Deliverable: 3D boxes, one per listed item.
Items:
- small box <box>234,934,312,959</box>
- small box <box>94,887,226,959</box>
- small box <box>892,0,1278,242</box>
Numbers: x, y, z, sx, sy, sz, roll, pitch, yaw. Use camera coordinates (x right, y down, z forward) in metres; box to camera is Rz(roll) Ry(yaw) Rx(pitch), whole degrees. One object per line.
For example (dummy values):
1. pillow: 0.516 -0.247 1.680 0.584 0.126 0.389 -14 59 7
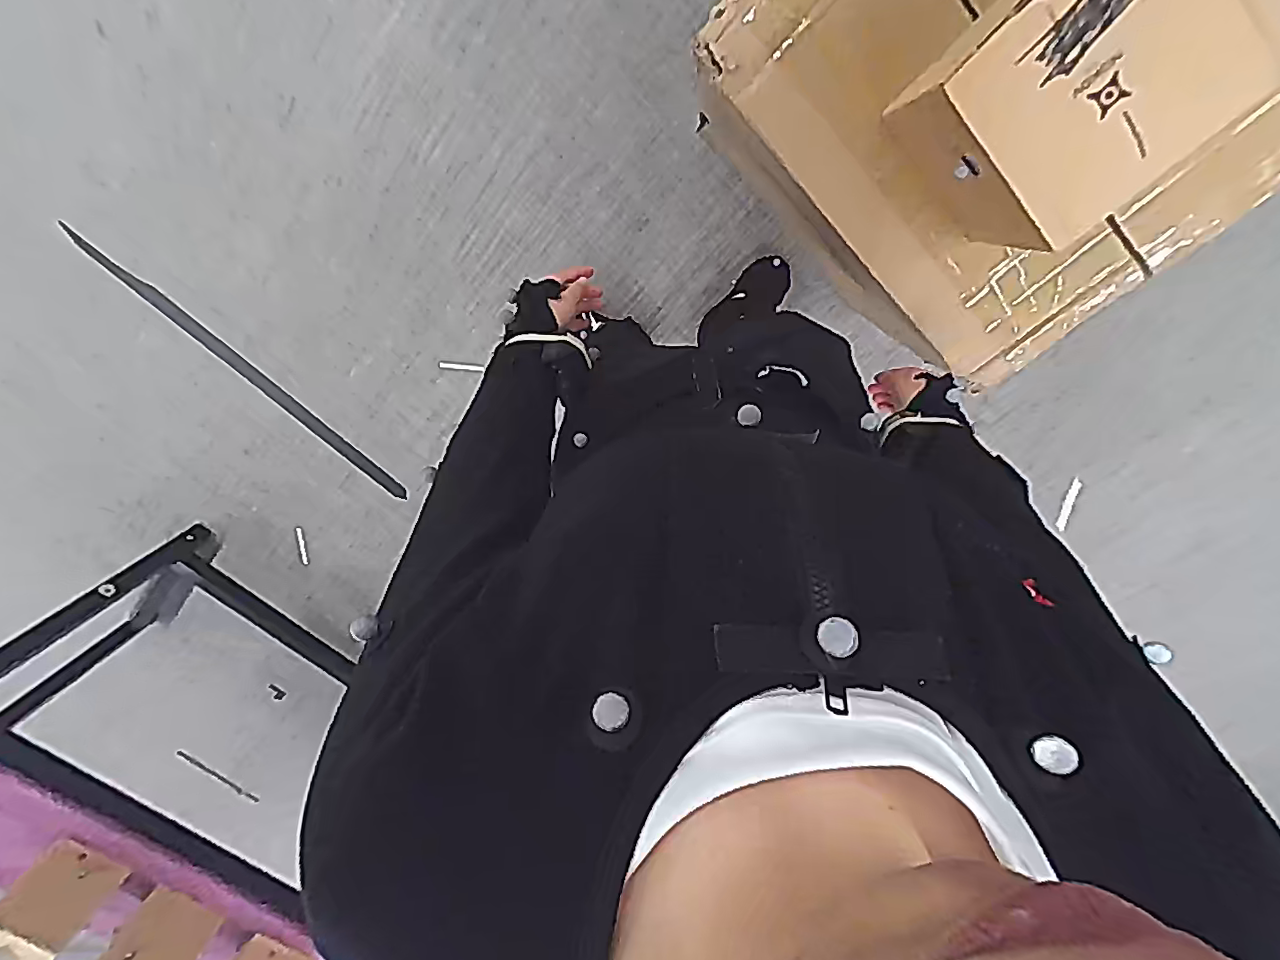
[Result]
1. small box: -0.938 1.250 1.312 0.168 0.176 0.179 36 116 -10
2. small box: -1.126 1.085 1.253 0.179 0.176 0.168 39 115 -12
3. small box: 0.356 -0.337 0.474 0.179 0.176 0.168 43 115 -14
